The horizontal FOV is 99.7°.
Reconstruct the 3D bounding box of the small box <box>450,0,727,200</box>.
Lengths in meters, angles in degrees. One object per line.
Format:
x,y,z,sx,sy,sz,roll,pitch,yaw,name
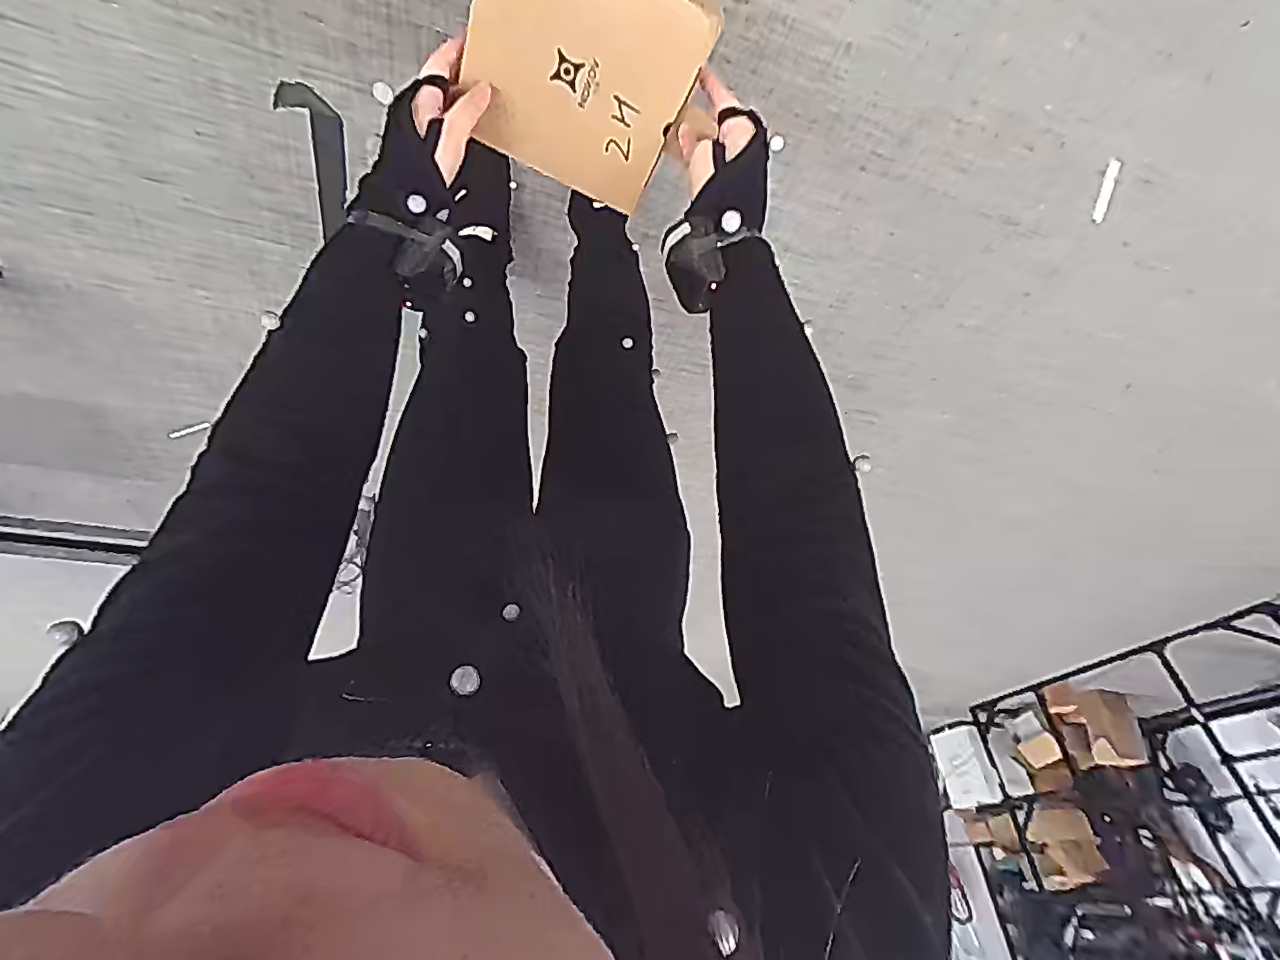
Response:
-0.043,-0.394,0.472,0.179,0.176,0.168,18,142,-18,small box
